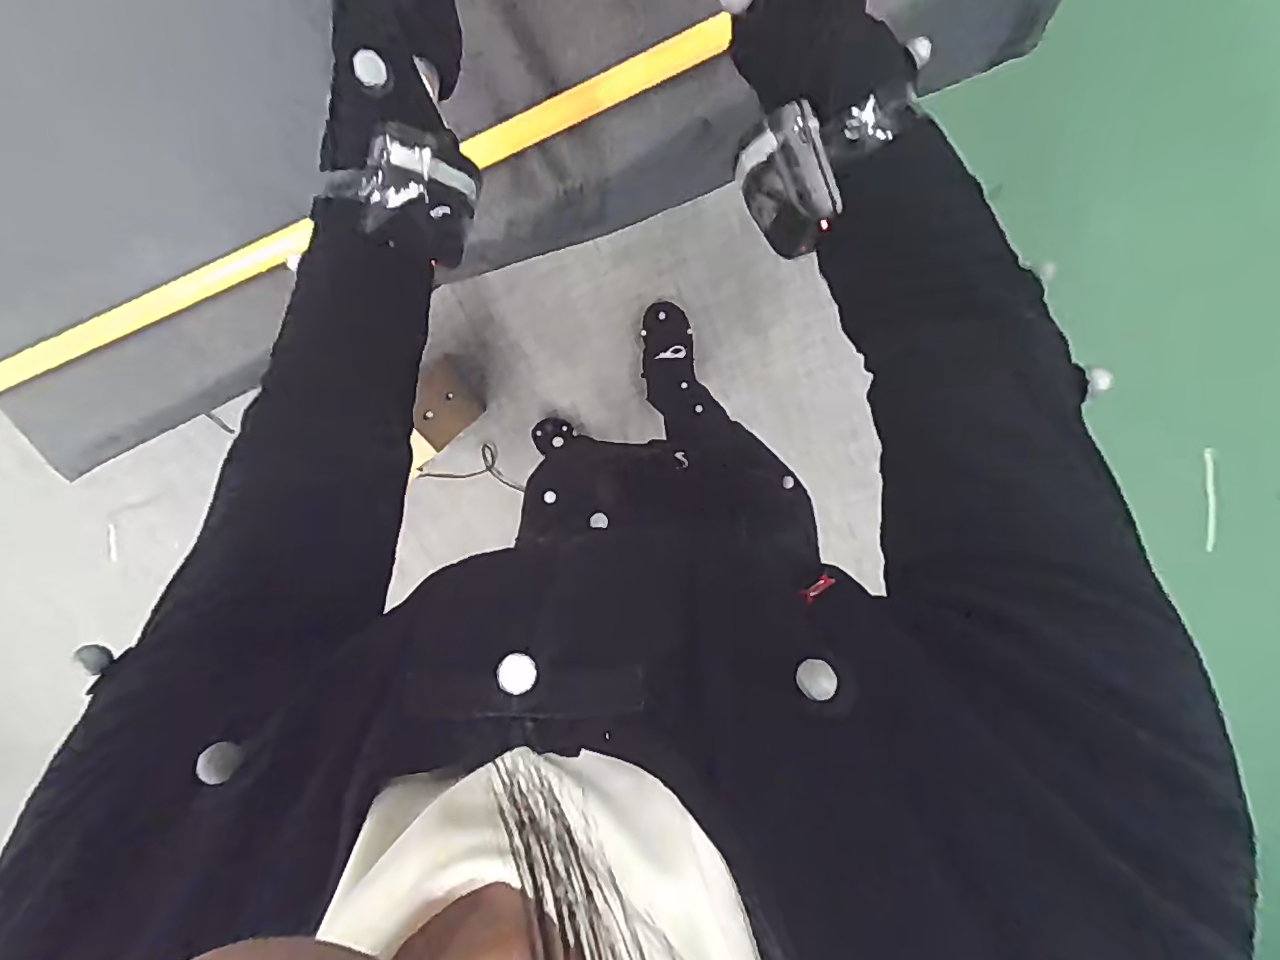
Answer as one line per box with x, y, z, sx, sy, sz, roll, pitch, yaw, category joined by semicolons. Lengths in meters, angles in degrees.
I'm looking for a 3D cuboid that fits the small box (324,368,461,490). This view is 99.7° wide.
-0.523;-0.116;1.170;0.168;0.176;0.179;-35;107;19;small box
